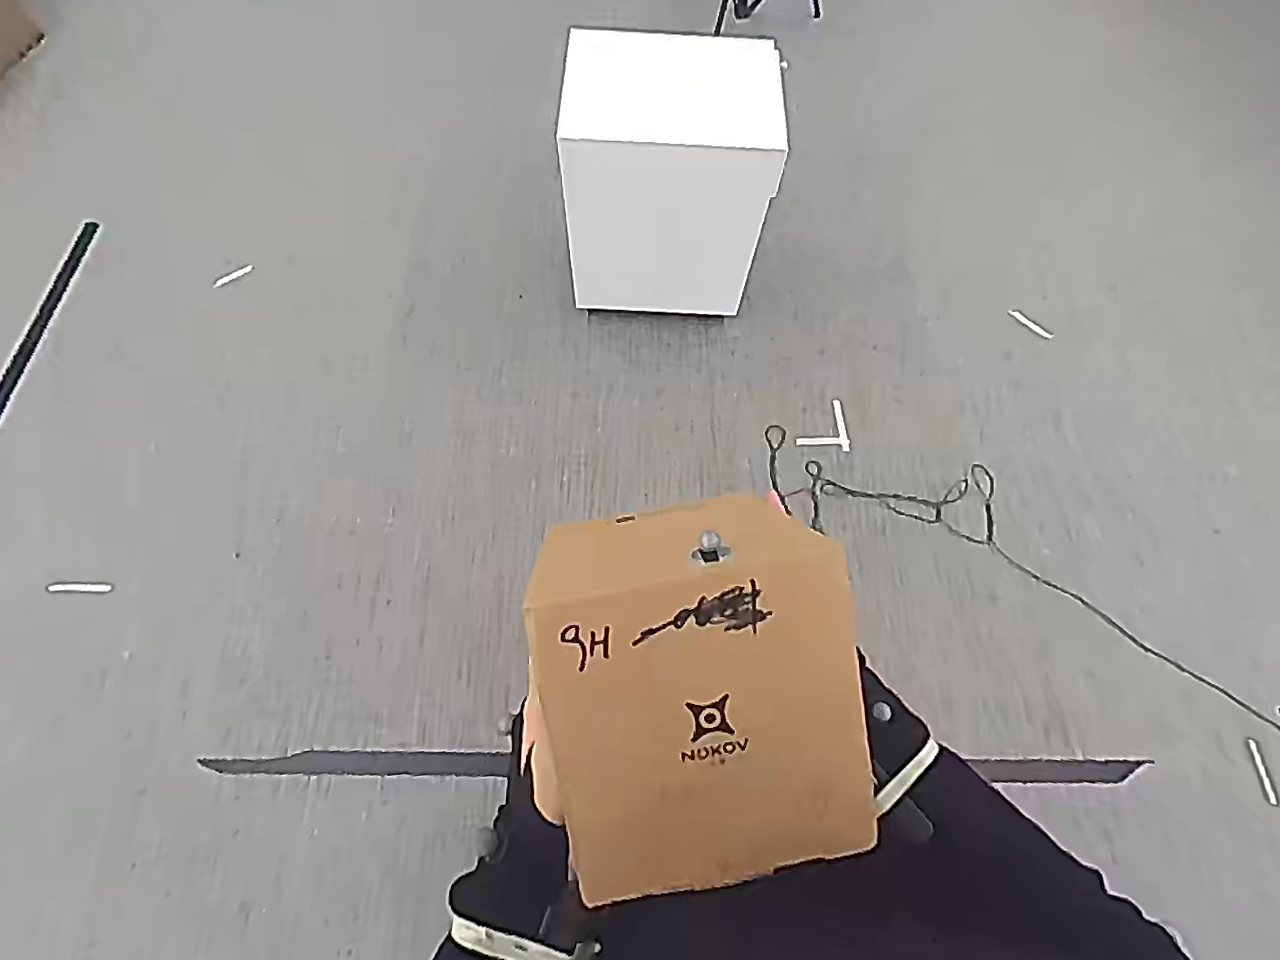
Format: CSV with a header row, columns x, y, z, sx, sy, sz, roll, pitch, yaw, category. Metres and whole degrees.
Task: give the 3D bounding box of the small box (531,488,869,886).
x,y,z,sx,sy,sz,roll,pitch,yaw,category
0.030,0.113,0.365,0.168,0.176,0.179,-10,99,-4,small box
